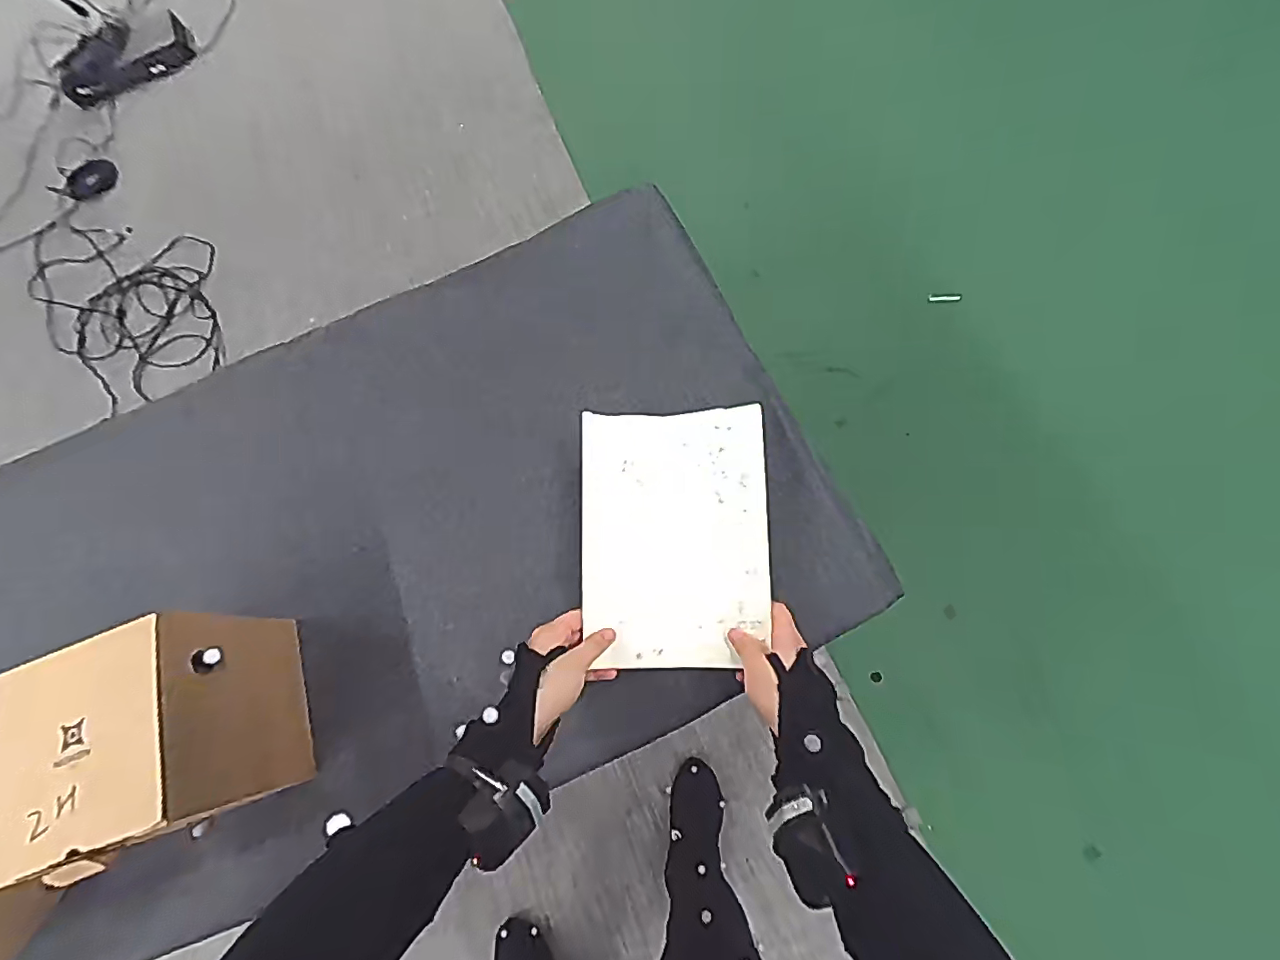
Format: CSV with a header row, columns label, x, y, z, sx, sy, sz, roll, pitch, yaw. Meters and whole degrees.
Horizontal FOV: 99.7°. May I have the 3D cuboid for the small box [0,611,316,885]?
label,x,y,z,sx,sy,sz,roll,pitch,yaw
small box,-0.459,0.245,0.534,0.168,0.176,0.179,-22,72,3
